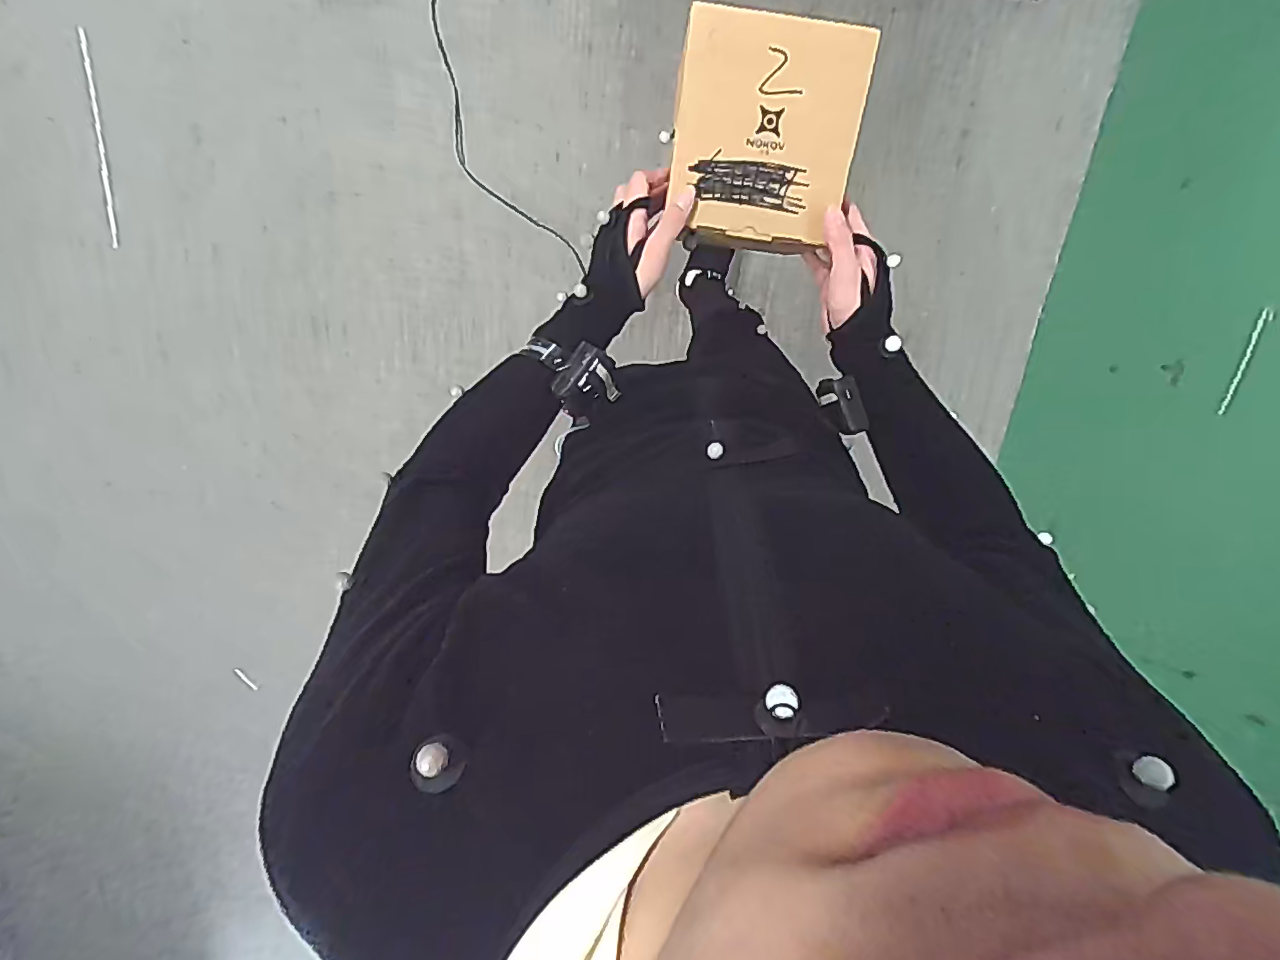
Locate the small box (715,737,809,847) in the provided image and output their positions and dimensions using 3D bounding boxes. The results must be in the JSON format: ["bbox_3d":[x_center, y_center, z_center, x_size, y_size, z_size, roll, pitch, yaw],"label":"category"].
[{"bbox_3d":[0.295,0.768,1.343,0.179,0.176,0.168,7,106,-2],"label":"small box"}]
